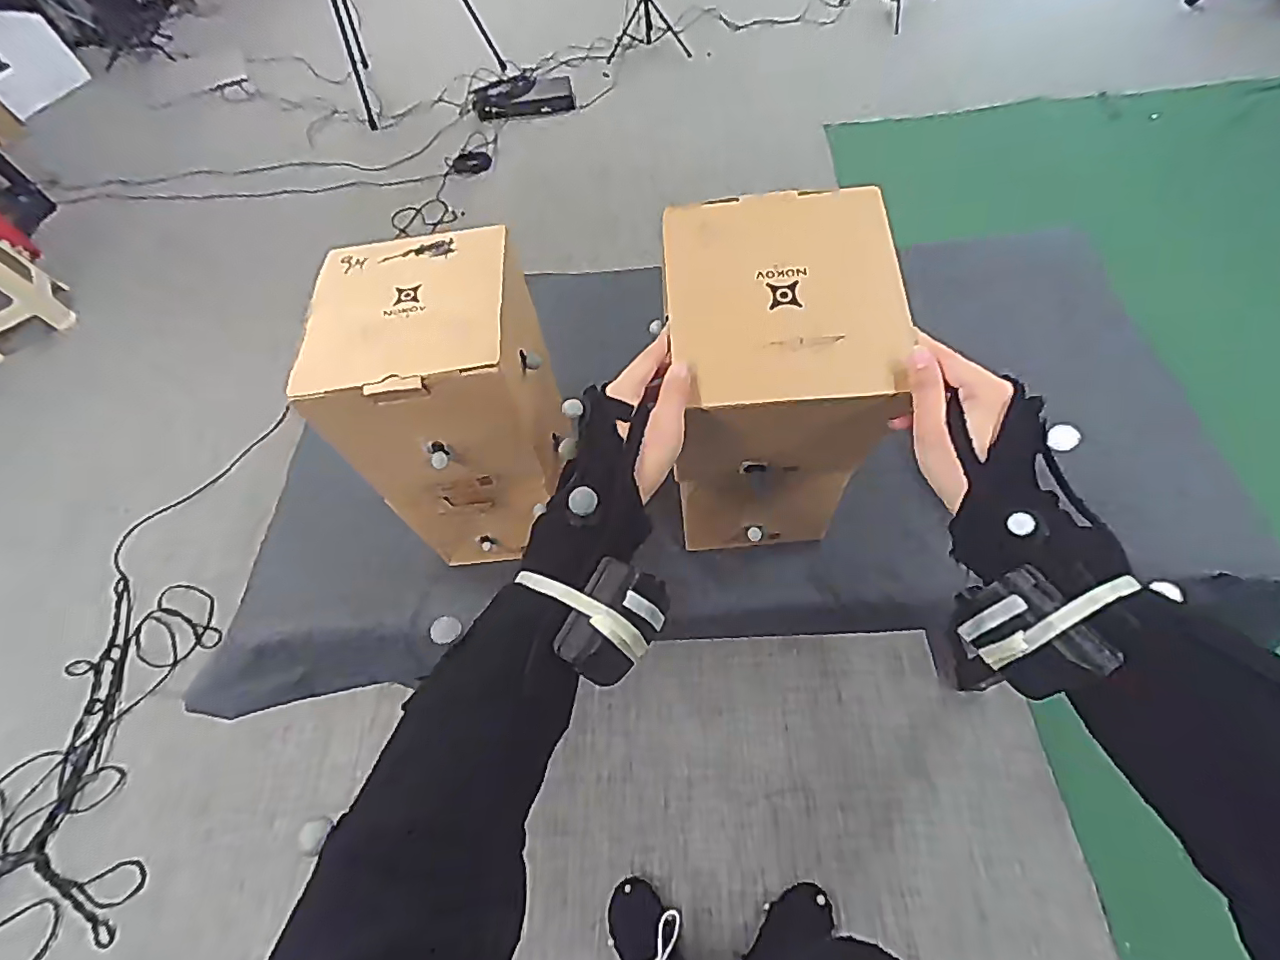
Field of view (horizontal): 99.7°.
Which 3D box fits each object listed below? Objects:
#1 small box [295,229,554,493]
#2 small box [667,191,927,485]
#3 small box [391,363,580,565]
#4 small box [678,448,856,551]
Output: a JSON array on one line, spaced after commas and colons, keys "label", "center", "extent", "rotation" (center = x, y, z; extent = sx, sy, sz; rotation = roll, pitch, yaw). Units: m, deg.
[{"label": "small box", "center": [-0.180, -0.100, 0.513], "extent": [0.168, 0.176, 0.179], "rotation": [-8, 59, 2]}, {"label": "small box", "center": [0.110, -0.107, 0.461], "extent": [0.168, 0.176, 0.179], "rotation": [-5, 72, 4]}, {"label": "small box", "center": [-0.169, -0.015, 0.653], "extent": [0.168, 0.176, 0.179], "rotation": [-7, 58, 2]}, {"label": "small box", "center": [0.128, -0.035, 0.626], "extent": [0.168, 0.176, 0.179], "rotation": [-6, 58, 4]}]
